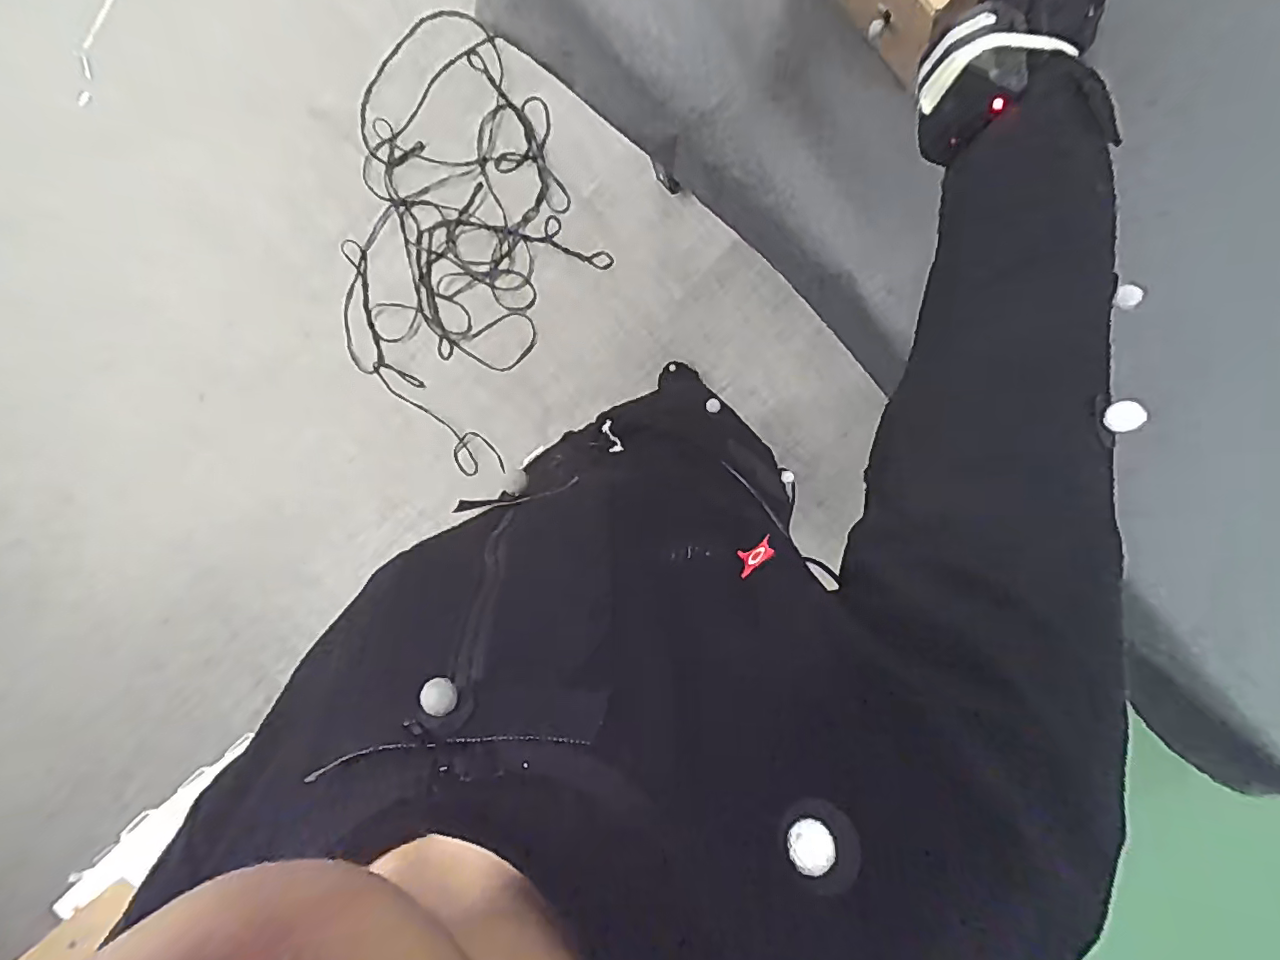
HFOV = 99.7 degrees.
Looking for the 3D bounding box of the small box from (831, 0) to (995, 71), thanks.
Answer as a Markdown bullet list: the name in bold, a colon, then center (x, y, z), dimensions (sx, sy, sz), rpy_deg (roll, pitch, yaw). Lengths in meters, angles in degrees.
- **small box**: center (0.223, -0.447, 0.394), dimensions (0.179, 0.176, 0.168), rpy_deg (48, 117, 0)
